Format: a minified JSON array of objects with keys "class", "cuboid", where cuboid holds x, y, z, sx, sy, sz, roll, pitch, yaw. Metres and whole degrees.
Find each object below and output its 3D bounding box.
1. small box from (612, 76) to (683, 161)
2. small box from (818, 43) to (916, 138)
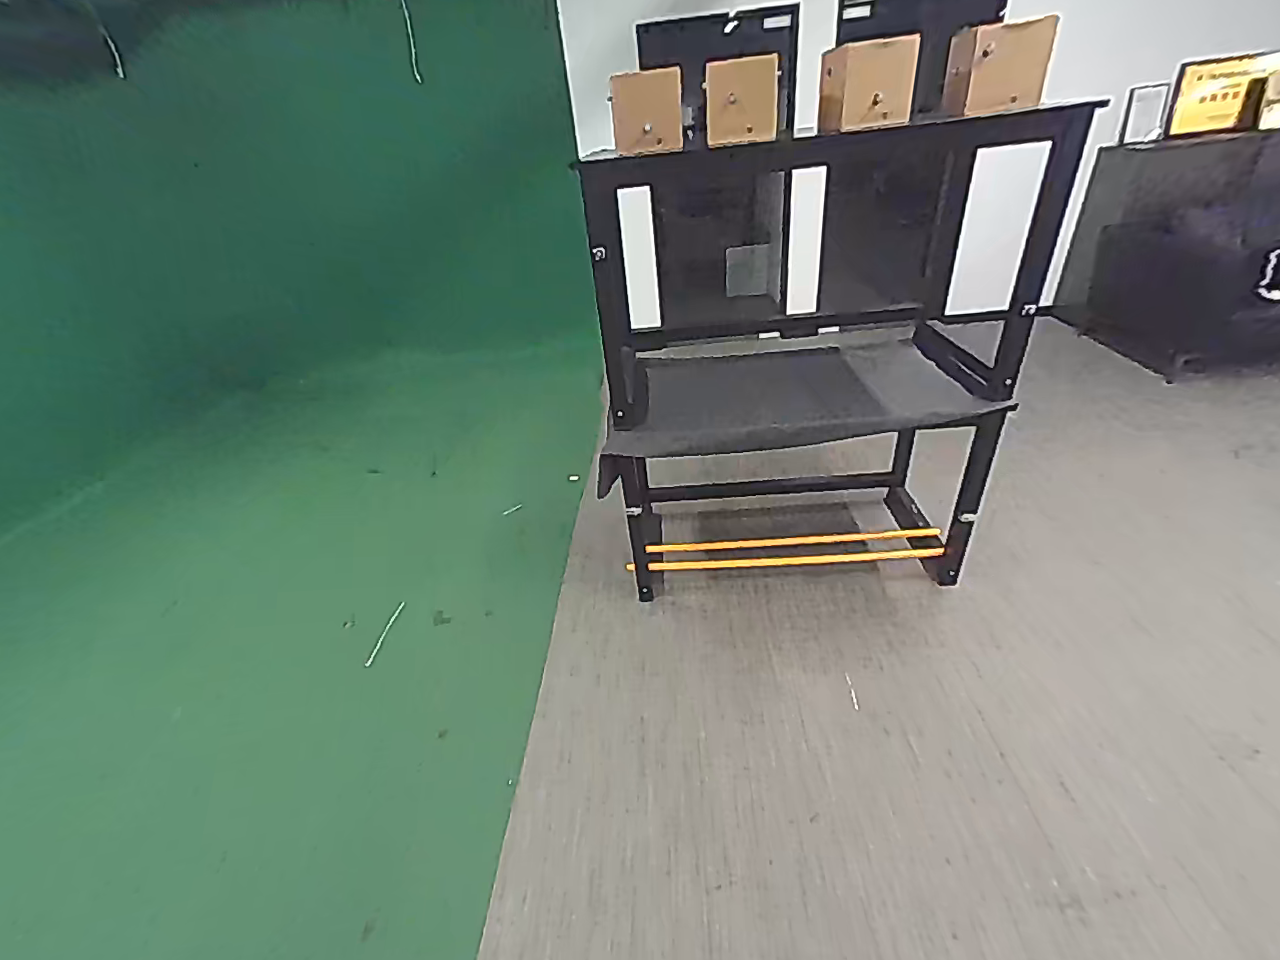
[{"class":"small box","cuboid":[0.017,-0.936,1.410,0.168,0.176,0.179,-7,33,-1]},{"class":"small box","cuboid":[0.550,-0.956,1.340,0.168,0.176,0.179,-7,32,1]}]
